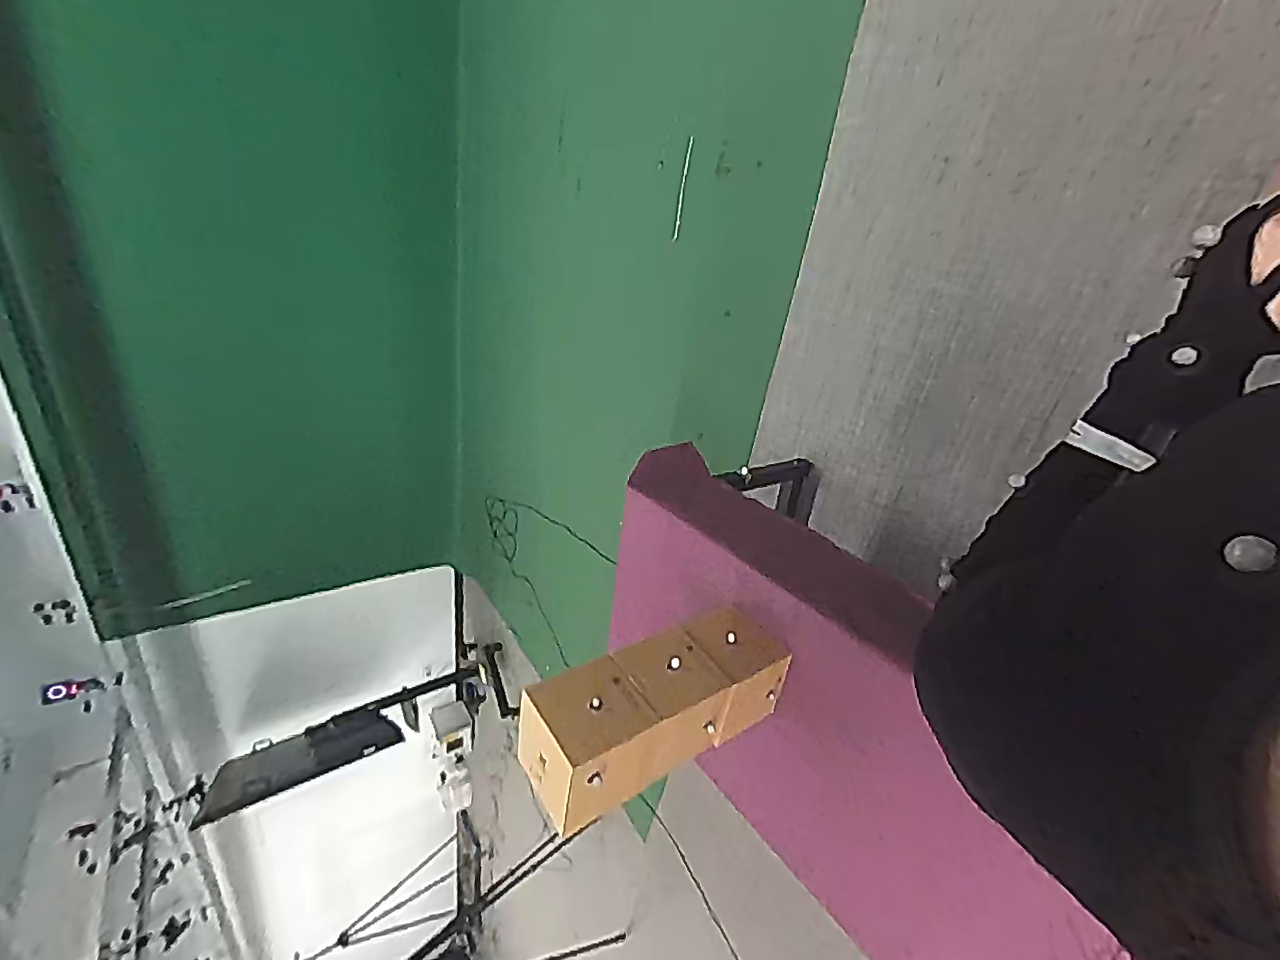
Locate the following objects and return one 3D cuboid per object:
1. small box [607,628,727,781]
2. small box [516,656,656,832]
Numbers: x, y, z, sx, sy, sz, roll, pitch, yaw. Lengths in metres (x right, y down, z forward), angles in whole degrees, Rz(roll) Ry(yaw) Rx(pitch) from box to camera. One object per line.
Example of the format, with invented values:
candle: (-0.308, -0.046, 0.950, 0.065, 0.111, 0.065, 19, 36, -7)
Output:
small box: (0.038, 0.407, 1.011, 0.168, 0.176, 0.179, 40, 128, 42)
small box: (-0.093, 0.432, 0.912, 0.168, 0.176, 0.179, 38, 128, 42)
